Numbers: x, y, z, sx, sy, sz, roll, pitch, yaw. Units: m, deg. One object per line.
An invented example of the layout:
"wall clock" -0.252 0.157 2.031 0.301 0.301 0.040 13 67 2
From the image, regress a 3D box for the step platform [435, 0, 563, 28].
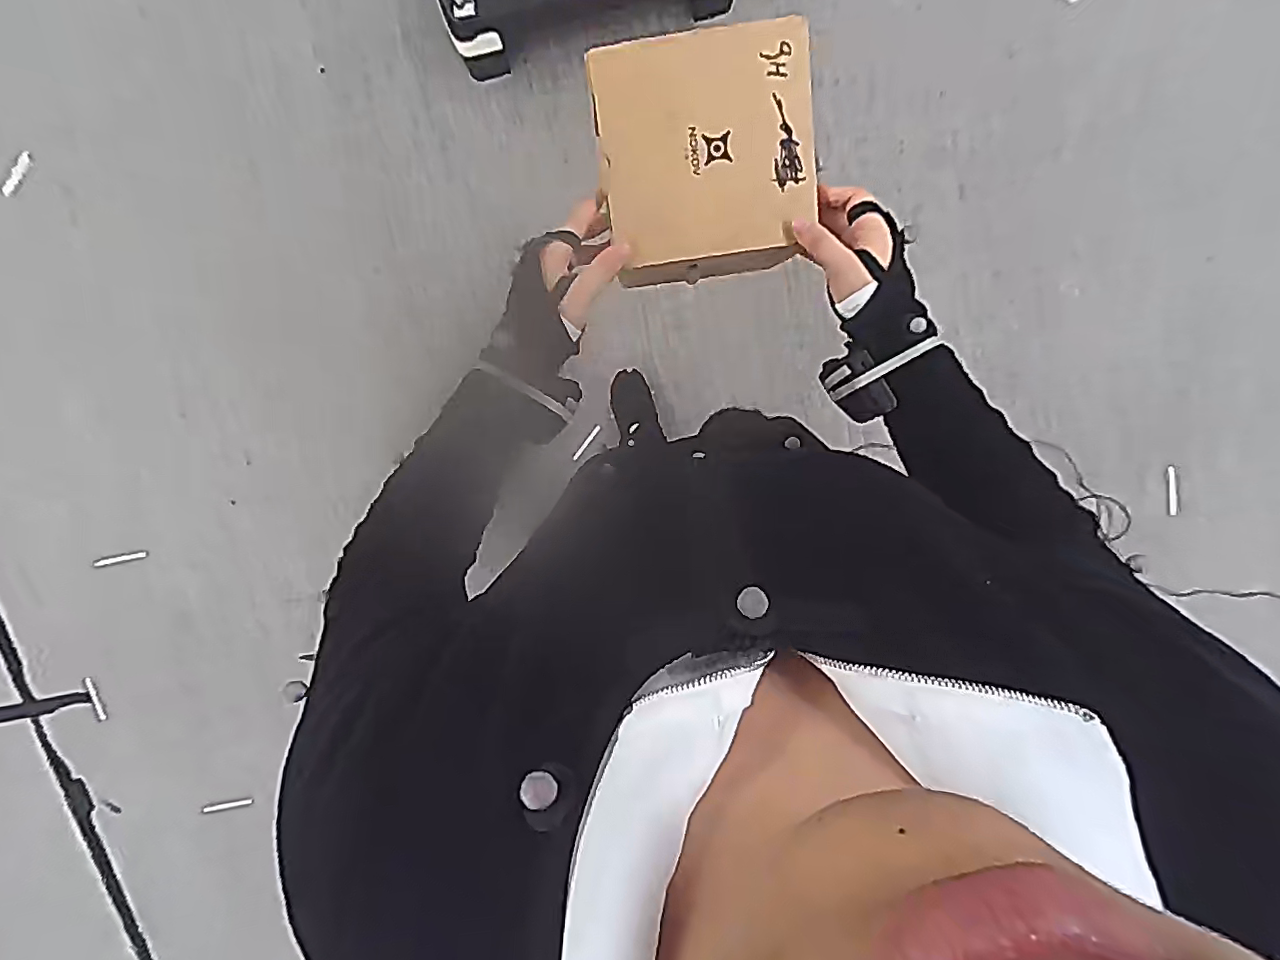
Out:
"step platform" -0.112 -1.117 0.998 0.684 0.204 0.286 -14 98 2

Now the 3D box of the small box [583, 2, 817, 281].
"small box" 0.054 -0.292 0.511 0.179 0.176 0.168 -7 103 3
